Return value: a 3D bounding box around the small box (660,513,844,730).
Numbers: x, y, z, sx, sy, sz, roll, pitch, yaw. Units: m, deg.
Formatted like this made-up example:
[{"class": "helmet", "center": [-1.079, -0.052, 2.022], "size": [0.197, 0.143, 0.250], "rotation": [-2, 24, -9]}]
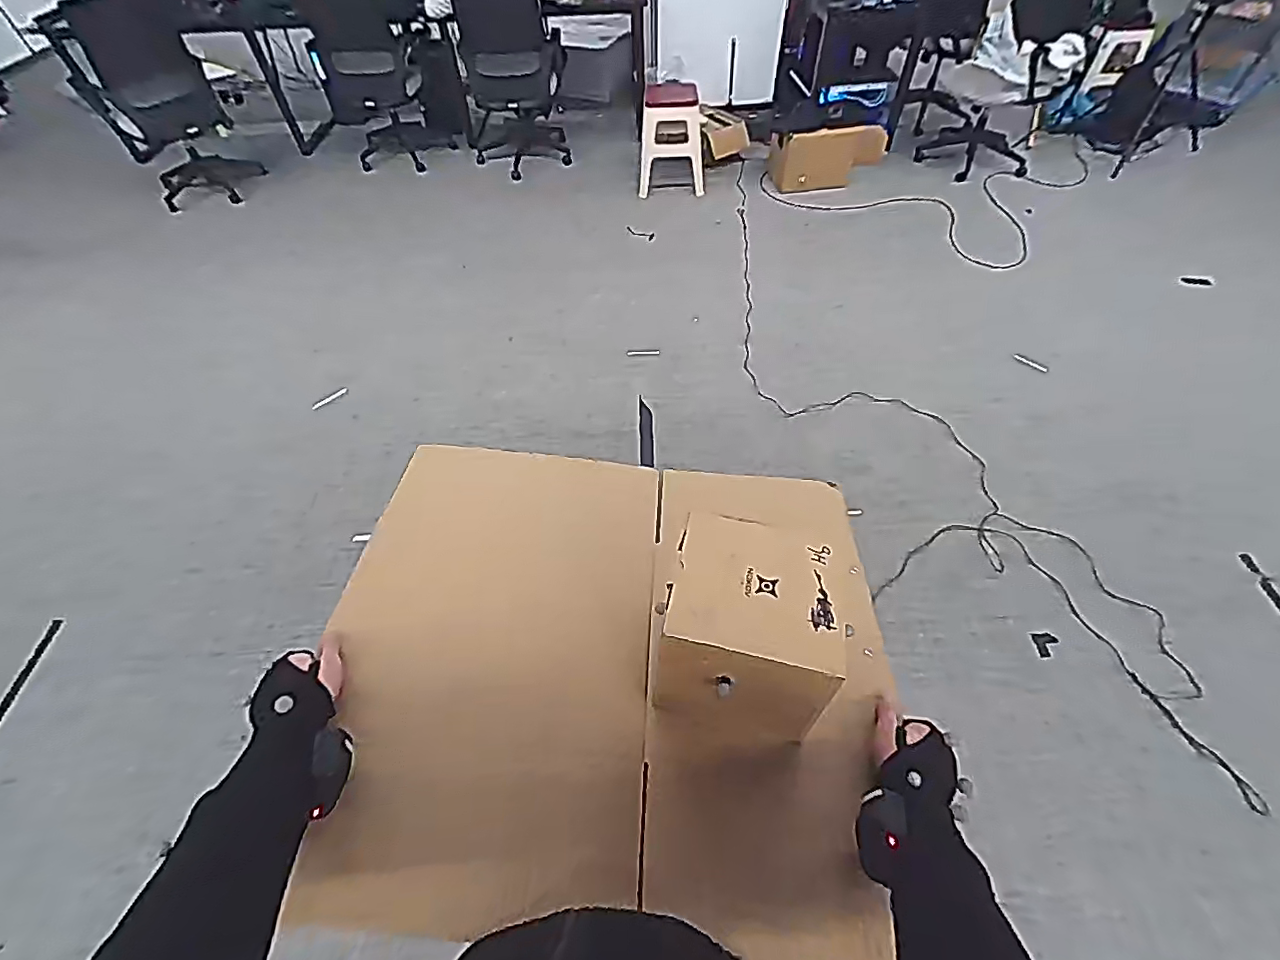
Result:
[{"class": "small box", "center": [0.123, 0.165, 0.625], "size": [0.179, 0.176, 0.168], "rotation": [10, 47, 9]}]
